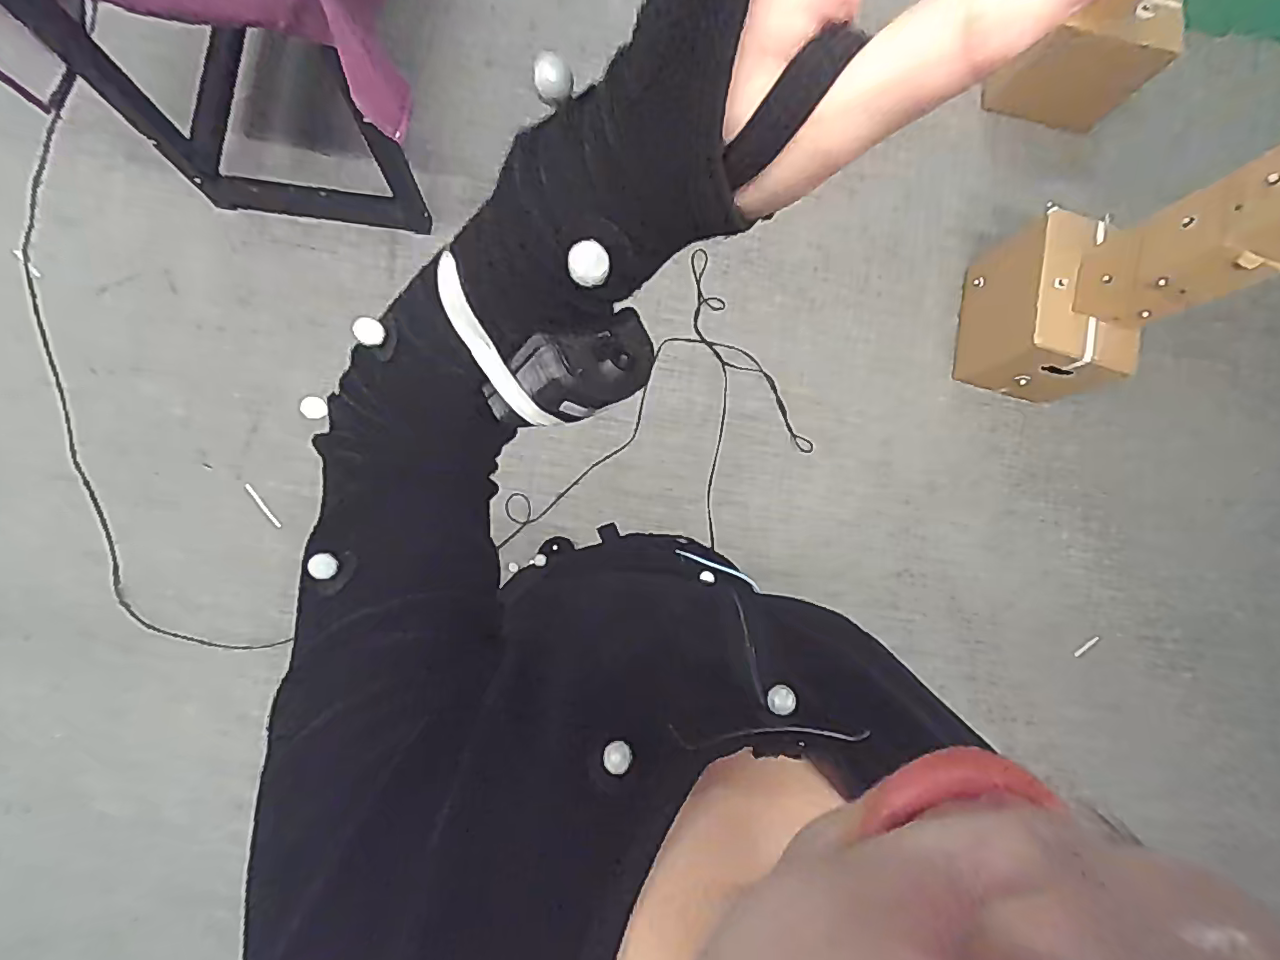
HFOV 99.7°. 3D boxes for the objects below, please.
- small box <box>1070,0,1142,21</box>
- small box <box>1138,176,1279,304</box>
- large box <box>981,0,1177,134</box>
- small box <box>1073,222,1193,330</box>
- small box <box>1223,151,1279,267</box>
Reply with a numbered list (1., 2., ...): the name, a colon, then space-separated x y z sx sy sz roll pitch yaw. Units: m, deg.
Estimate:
1. small box: 1.341 -1.432 1.500 0.179 0.176 0.168 9 82 -7
2. small box: 1.273 -0.524 1.209 0.168 0.176 0.179 19 80 -7
3. large box: 1.396 -1.401 1.751 0.408 0.320 0.320 7 82 -8
4. small box: 1.251 -0.506 1.371 0.168 0.176 0.179 18 81 -7
5. small box: 1.303 -0.544 1.049 0.179 0.176 0.168 18 81 -7
